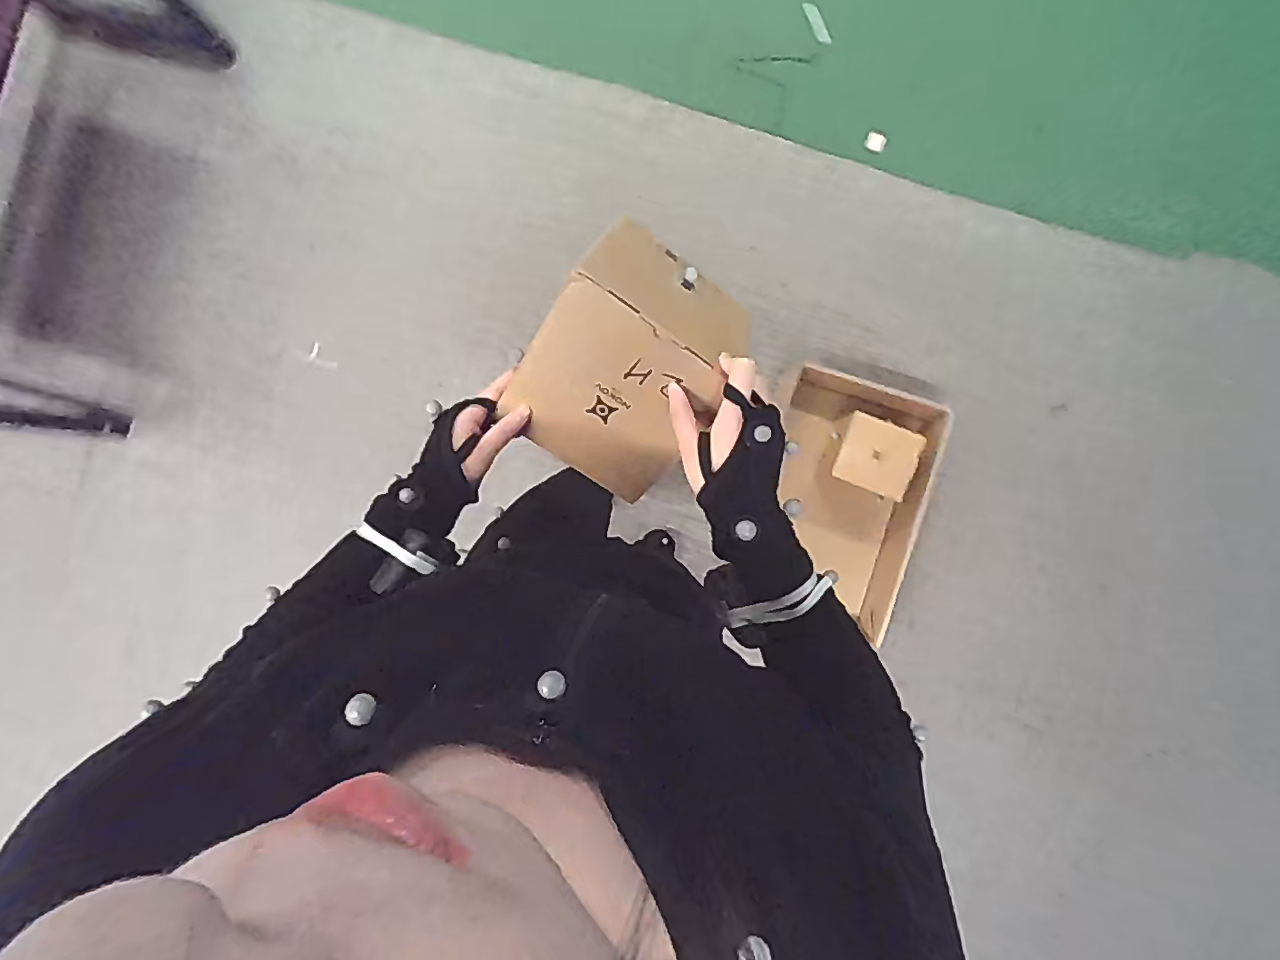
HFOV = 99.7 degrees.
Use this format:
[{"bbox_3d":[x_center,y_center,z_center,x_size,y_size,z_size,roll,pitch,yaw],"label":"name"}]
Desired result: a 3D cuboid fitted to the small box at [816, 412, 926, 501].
[{"bbox_3d":[0.568,-0.054,1.356,0.179,0.176,0.168,23,91,2],"label":"small box"}]
